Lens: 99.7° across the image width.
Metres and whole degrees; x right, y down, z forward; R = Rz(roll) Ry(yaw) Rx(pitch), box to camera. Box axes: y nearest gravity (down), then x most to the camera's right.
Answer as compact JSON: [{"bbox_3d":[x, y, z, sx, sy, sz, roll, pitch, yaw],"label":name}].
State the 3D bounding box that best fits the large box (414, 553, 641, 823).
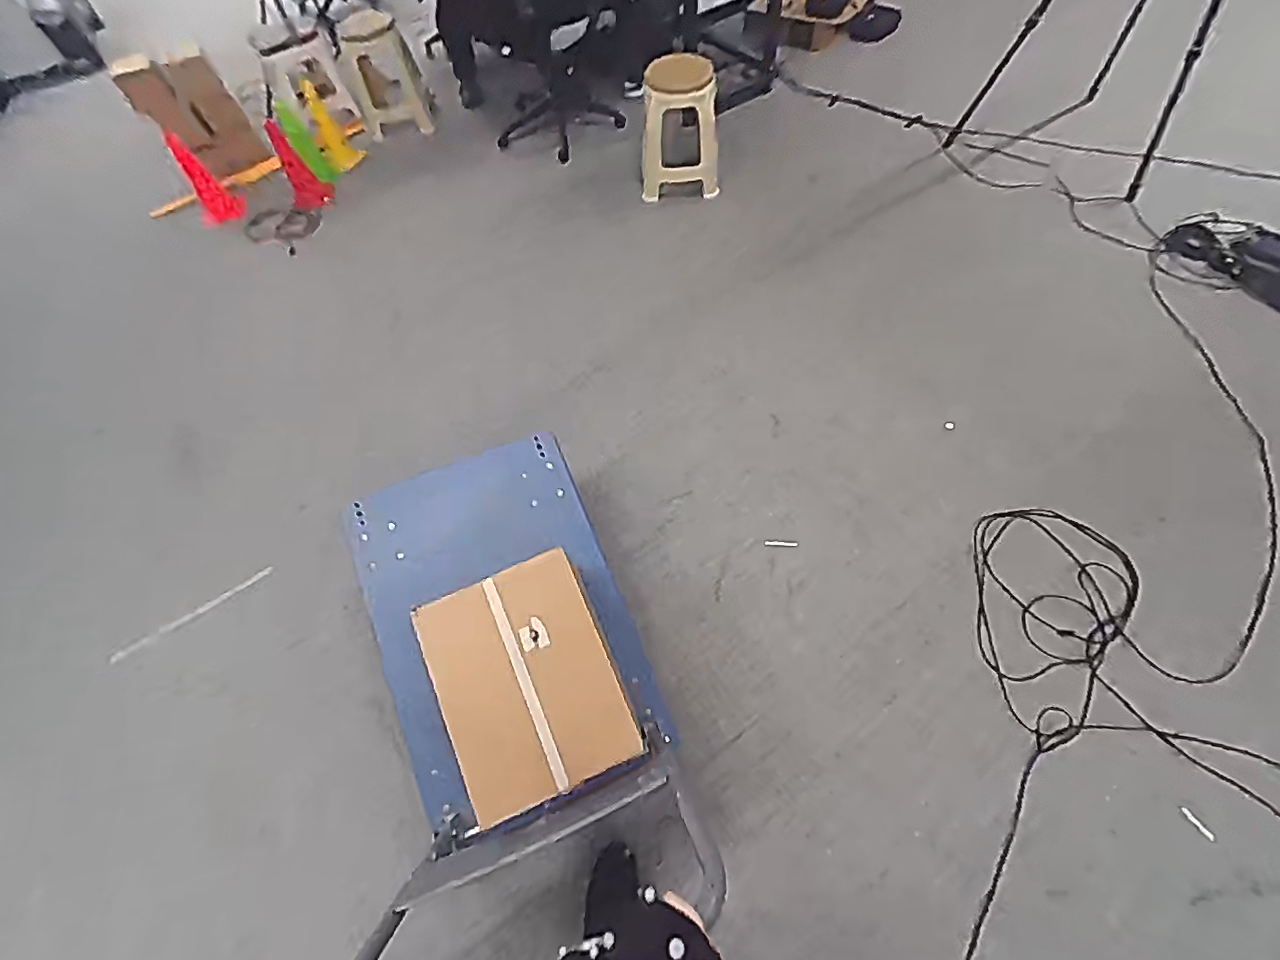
[{"bbox_3d":[-0.220,0.417,1.163,0.320,0.320,0.408,-23,76,-9],"label":"large box"}]
